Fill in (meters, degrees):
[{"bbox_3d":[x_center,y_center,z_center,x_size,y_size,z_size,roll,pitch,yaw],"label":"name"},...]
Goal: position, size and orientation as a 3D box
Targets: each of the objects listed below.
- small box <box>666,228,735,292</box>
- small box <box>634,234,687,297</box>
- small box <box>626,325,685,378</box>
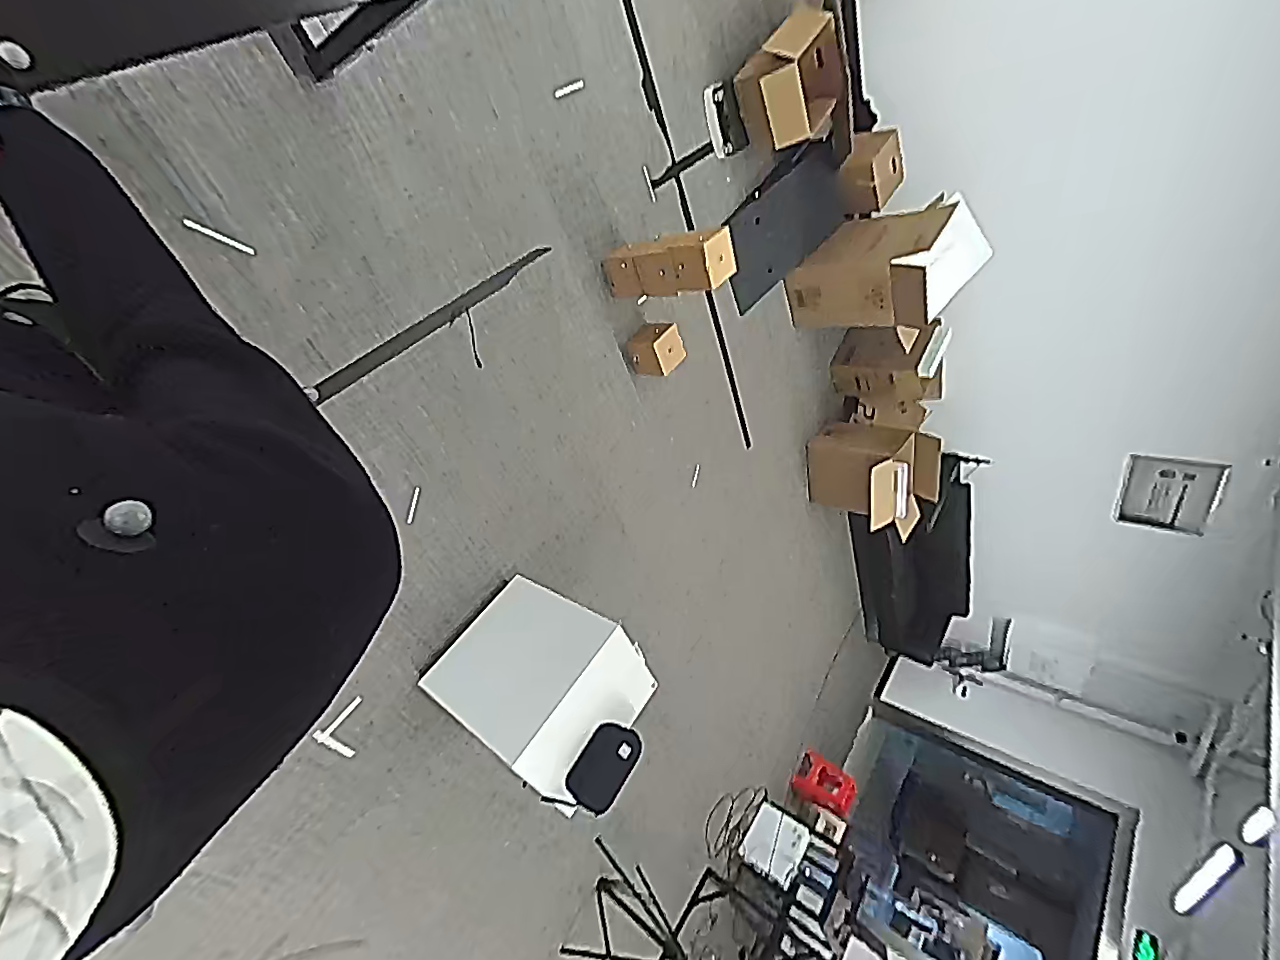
[{"bbox_3d":[0.224,-0.808,1.988,0.179,0.176,0.168,-46,132,-30],"label":"small box"},{"bbox_3d":[0.101,-0.826,2.094,0.168,0.176,0.179,-49,134,-30],"label":"small box"},{"bbox_3d":[0.069,-0.573,2.390,0.179,0.176,0.168,-49,132,-28],"label":"small box"}]
